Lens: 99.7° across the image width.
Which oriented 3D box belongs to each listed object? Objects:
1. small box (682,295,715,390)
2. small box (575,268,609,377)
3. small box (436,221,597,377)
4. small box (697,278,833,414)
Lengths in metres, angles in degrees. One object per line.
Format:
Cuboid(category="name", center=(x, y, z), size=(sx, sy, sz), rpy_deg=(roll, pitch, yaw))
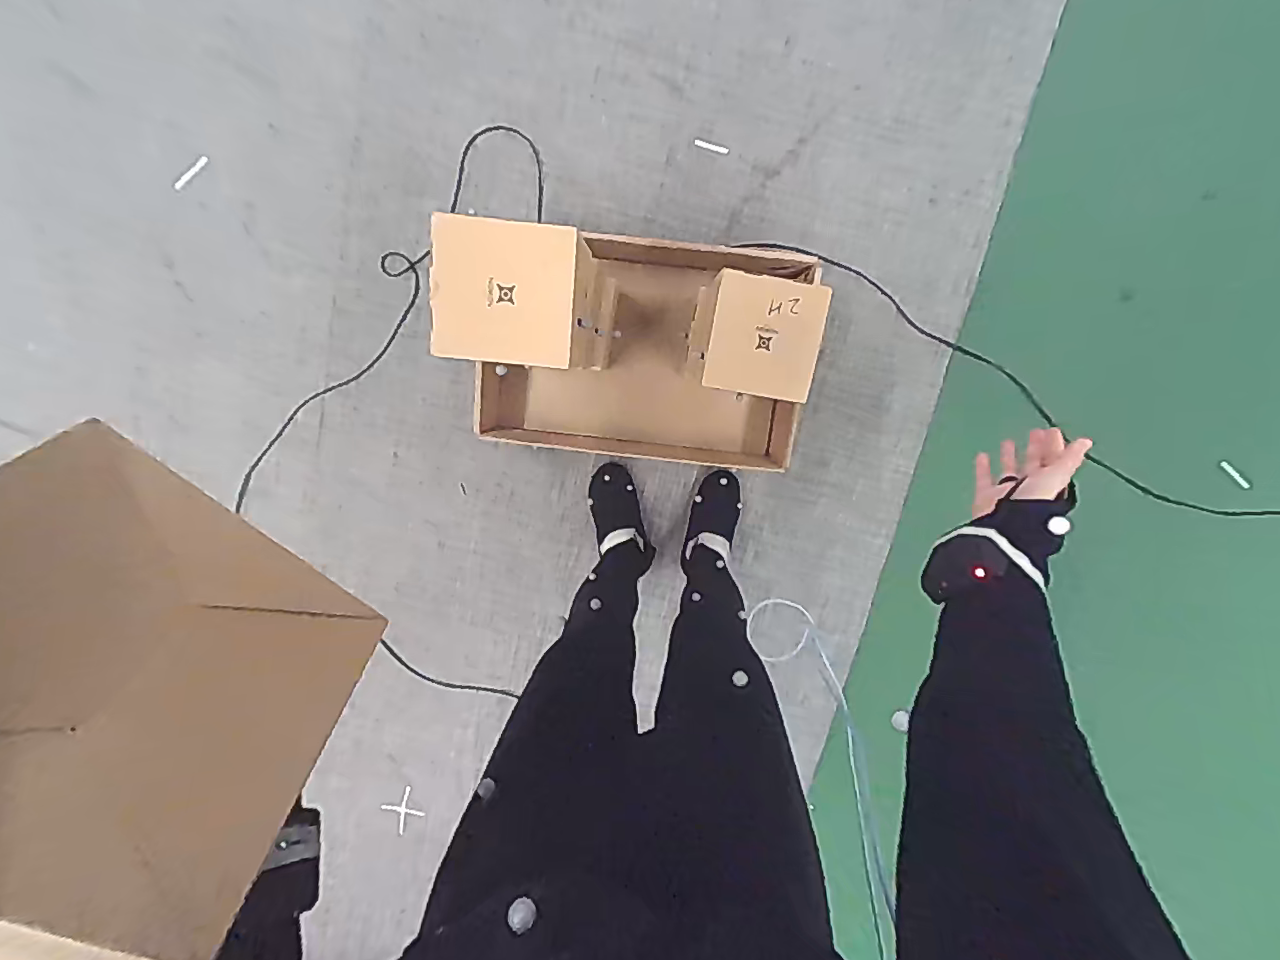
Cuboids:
Cuboid(category="small box", center=(0.181, -0.247, 1.051), size=(0.179, 0.176, 0.168), rpy_deg=(11, 101, 0))
Cuboid(category="small box", center=(-0.154, -0.266, 0.889), size=(0.179, 0.176, 0.168), rpy_deg=(11, 102, -2))
Cuboid(category="small box", center=(-0.156, -0.234, 0.730), size=(0.179, 0.176, 0.168), rpy_deg=(6, 102, 1))
Cuboid(category="small box", center=(0.192, -0.213, 0.889), size=(0.168, 0.176, 0.179), rpy_deg=(11, 100, -2))
